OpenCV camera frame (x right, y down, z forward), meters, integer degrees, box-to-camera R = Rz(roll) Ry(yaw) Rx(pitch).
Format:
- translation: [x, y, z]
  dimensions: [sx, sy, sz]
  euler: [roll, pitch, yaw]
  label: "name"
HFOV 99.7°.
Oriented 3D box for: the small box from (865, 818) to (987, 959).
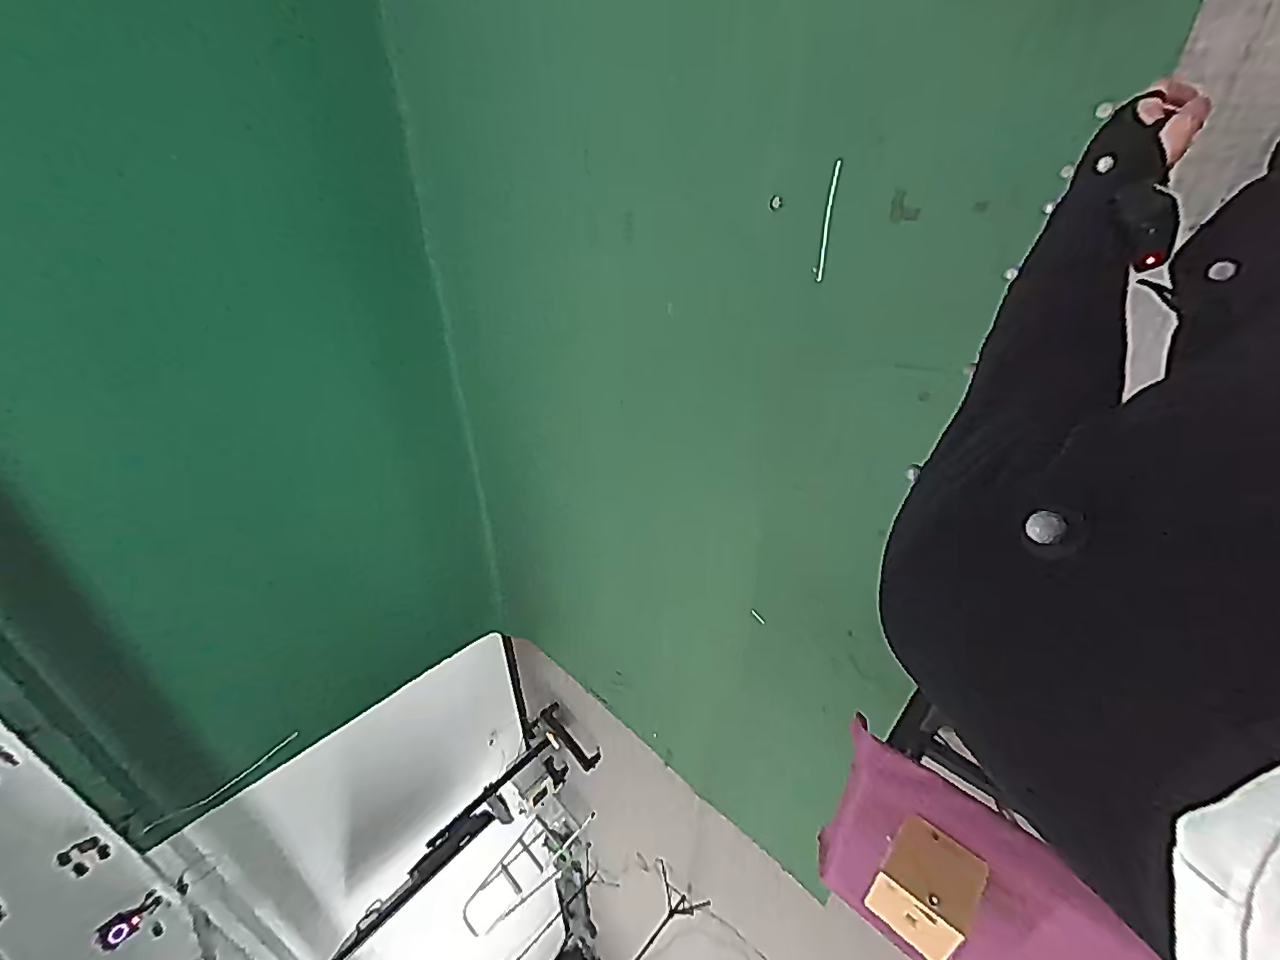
- translation: [0.613, 0.882, 1.162]
  dimensions: [0.168, 0.176, 0.179]
  euler: [26, 133, 34]
  label: "small box"
